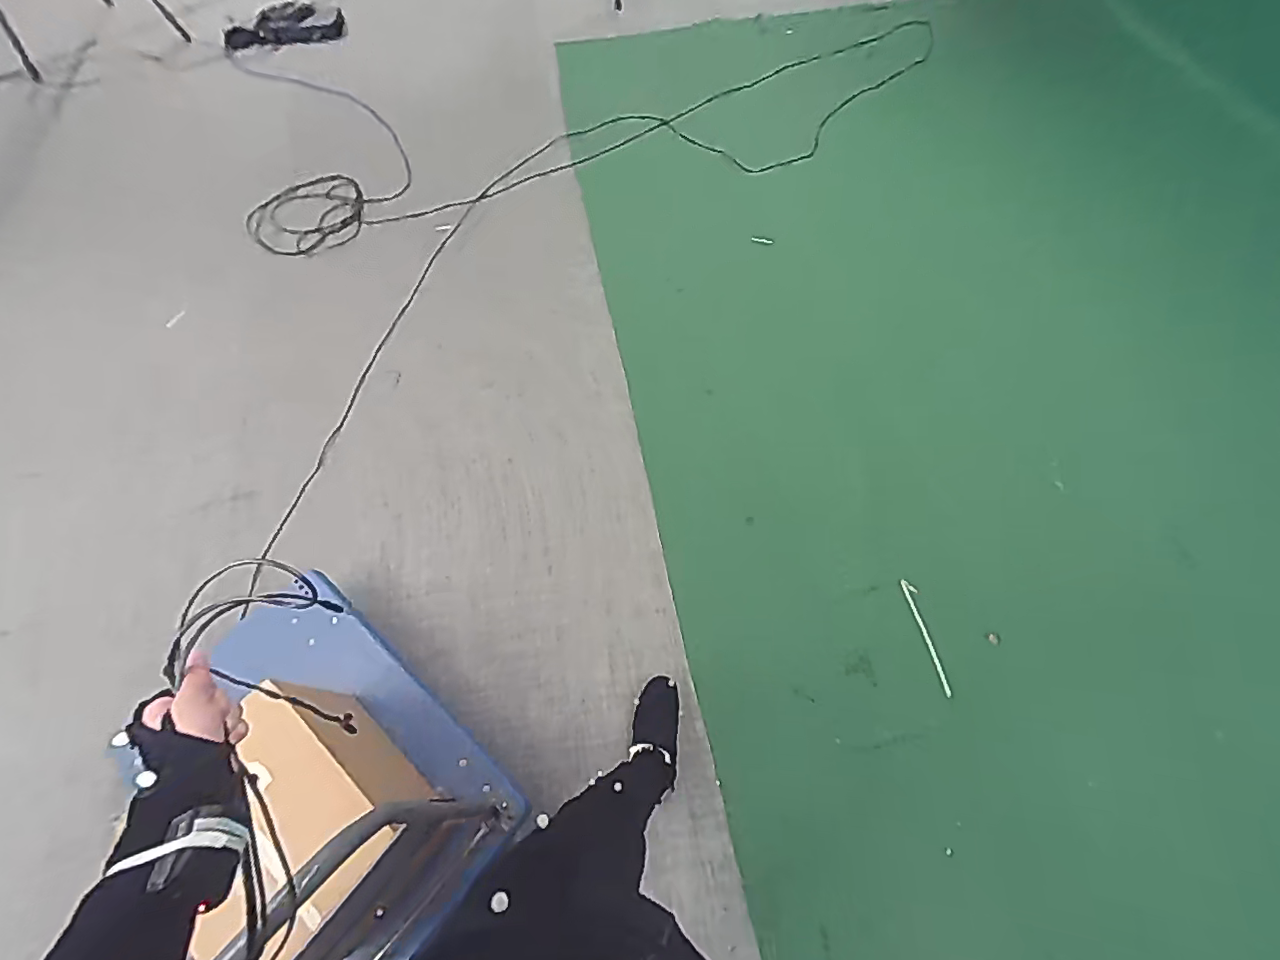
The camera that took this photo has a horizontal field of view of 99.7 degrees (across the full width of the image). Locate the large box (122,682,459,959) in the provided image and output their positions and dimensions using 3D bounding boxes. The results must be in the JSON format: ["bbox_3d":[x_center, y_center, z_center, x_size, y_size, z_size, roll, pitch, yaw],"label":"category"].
[{"bbox_3d":[-0.640,0.664,1.049,0.408,0.320,0.320,36,69,19],"label":"large box"}]
